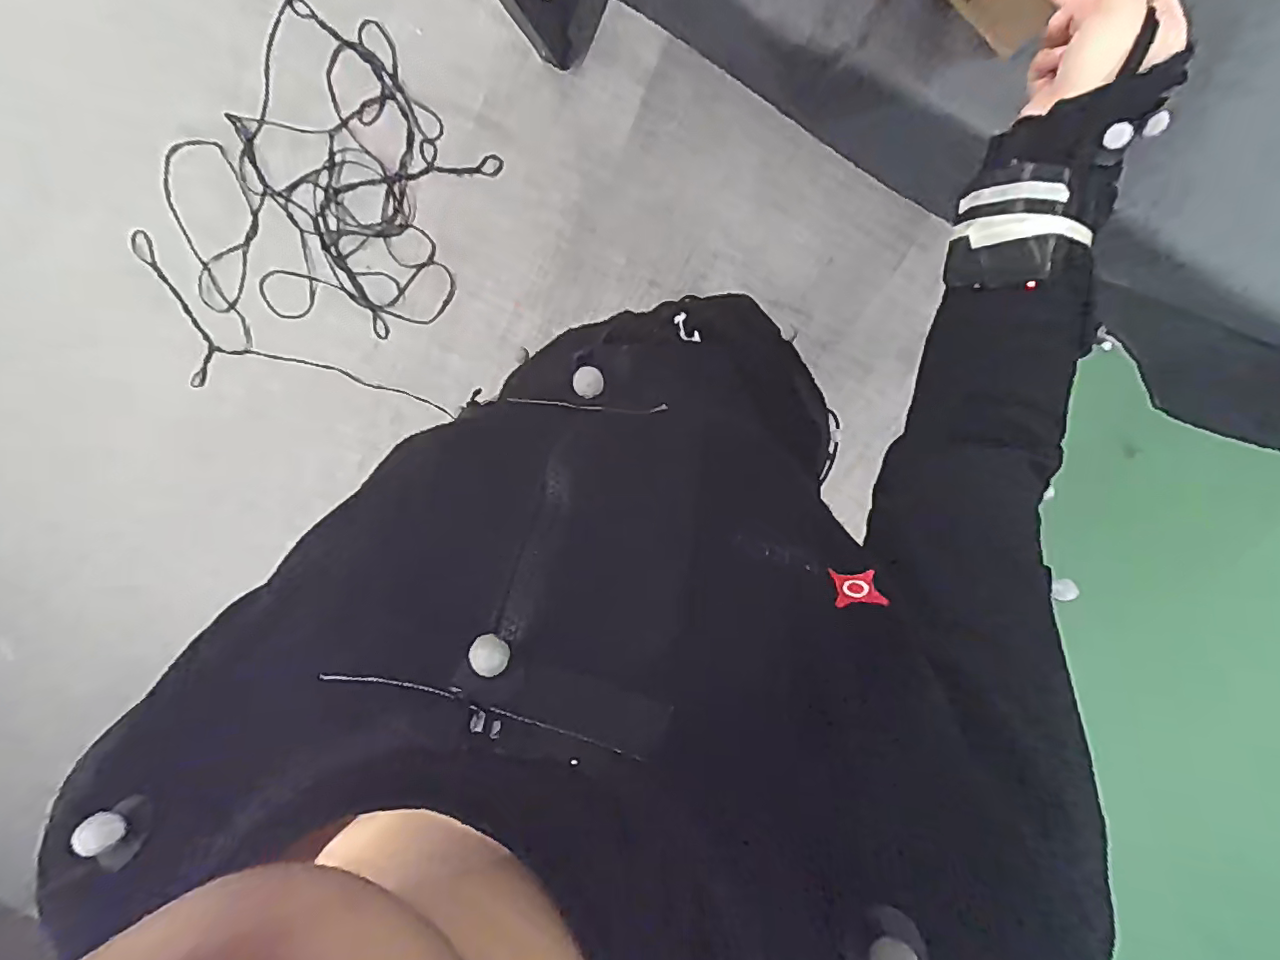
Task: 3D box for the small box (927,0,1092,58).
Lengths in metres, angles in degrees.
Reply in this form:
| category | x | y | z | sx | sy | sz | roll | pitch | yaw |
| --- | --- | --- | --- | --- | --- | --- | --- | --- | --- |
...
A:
| category | x | y | z | sx | sy | sz | roll | pitch | yaw |
| --- | --- | --- | --- | --- | --- | --- | --- | --- | --- |
| small box | 0.274 | -0.423 | 0.334 | 0.168 | 0.176 | 0.179 | 37 | 113 | -5 |
